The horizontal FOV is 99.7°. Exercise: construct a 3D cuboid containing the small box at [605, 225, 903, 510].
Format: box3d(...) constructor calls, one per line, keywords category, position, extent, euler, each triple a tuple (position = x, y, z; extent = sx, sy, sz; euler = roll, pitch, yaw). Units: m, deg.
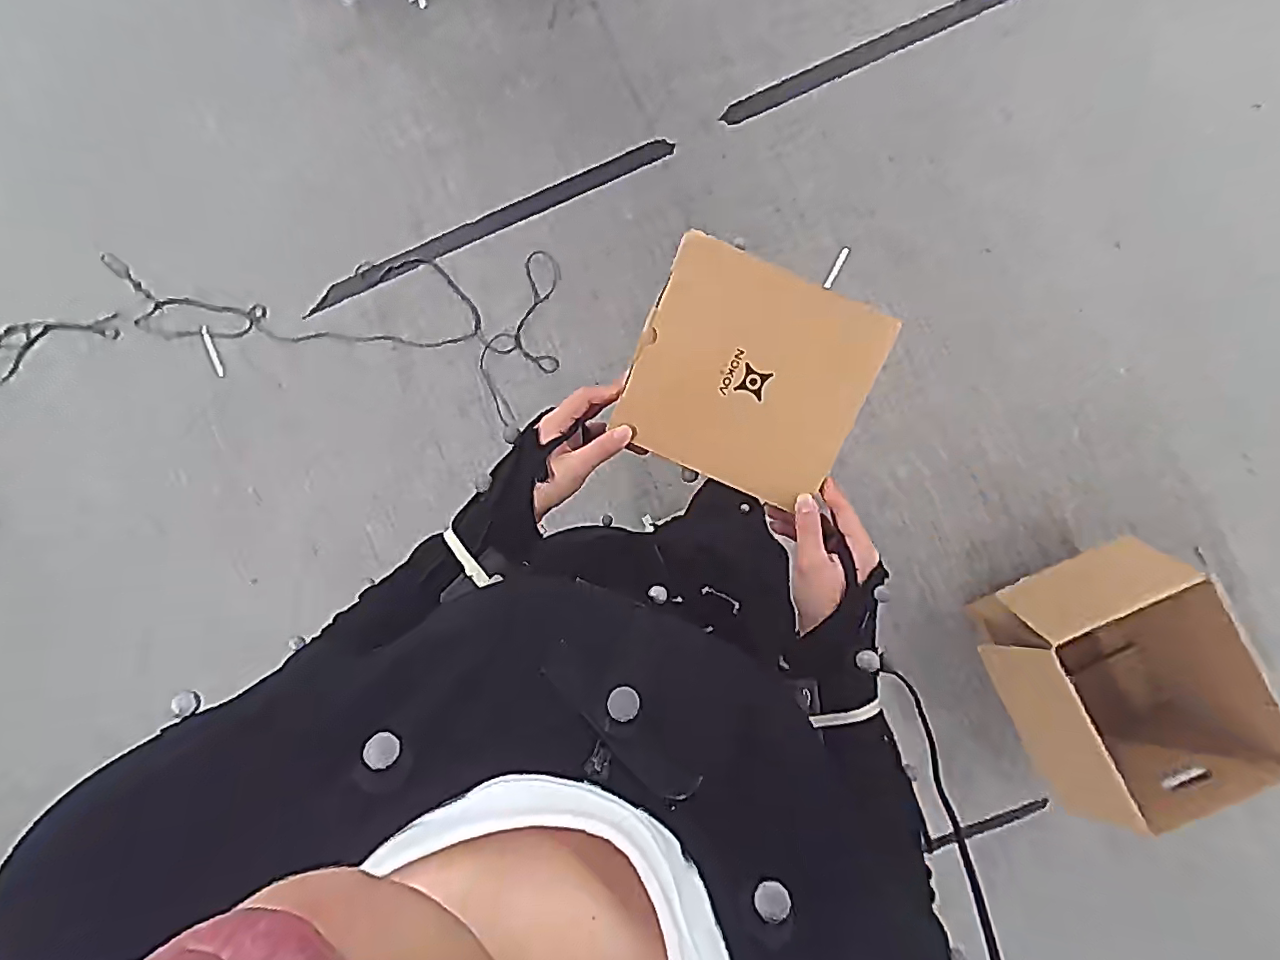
box3d(category="small box", position=(0.089, -0.097, 0.484), extent=(0.179, 0.176, 0.168), euler=(22, 103, 1))
